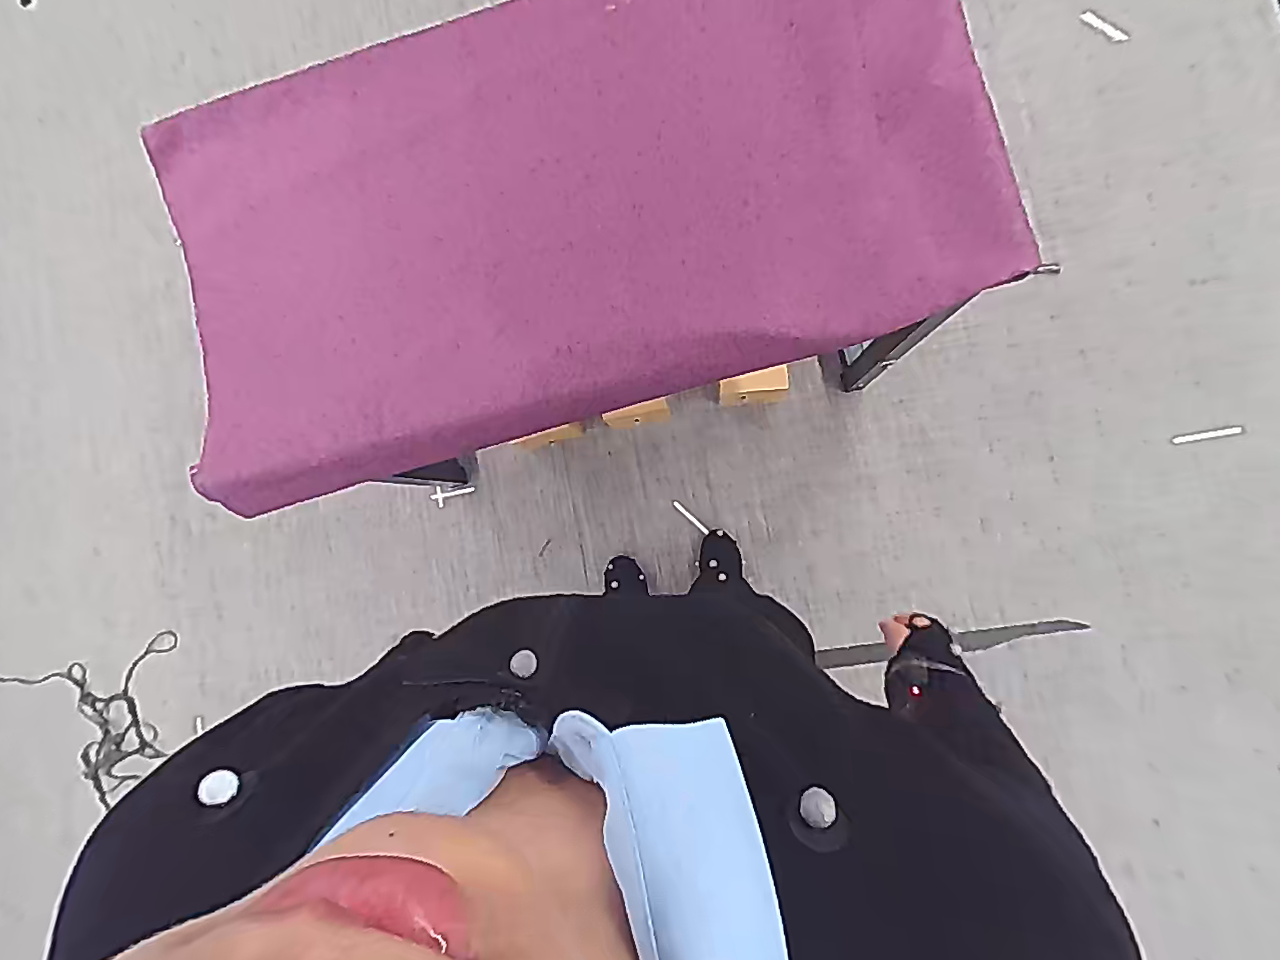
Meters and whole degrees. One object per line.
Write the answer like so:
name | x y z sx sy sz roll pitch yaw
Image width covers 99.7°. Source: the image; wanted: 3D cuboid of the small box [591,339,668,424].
small box | -0.021 -0.253 1.438 0.168 0.176 0.179 -10 85 6

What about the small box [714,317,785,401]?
small box | 0.281 -0.304 1.404 0.168 0.176 0.179 -3 86 8
